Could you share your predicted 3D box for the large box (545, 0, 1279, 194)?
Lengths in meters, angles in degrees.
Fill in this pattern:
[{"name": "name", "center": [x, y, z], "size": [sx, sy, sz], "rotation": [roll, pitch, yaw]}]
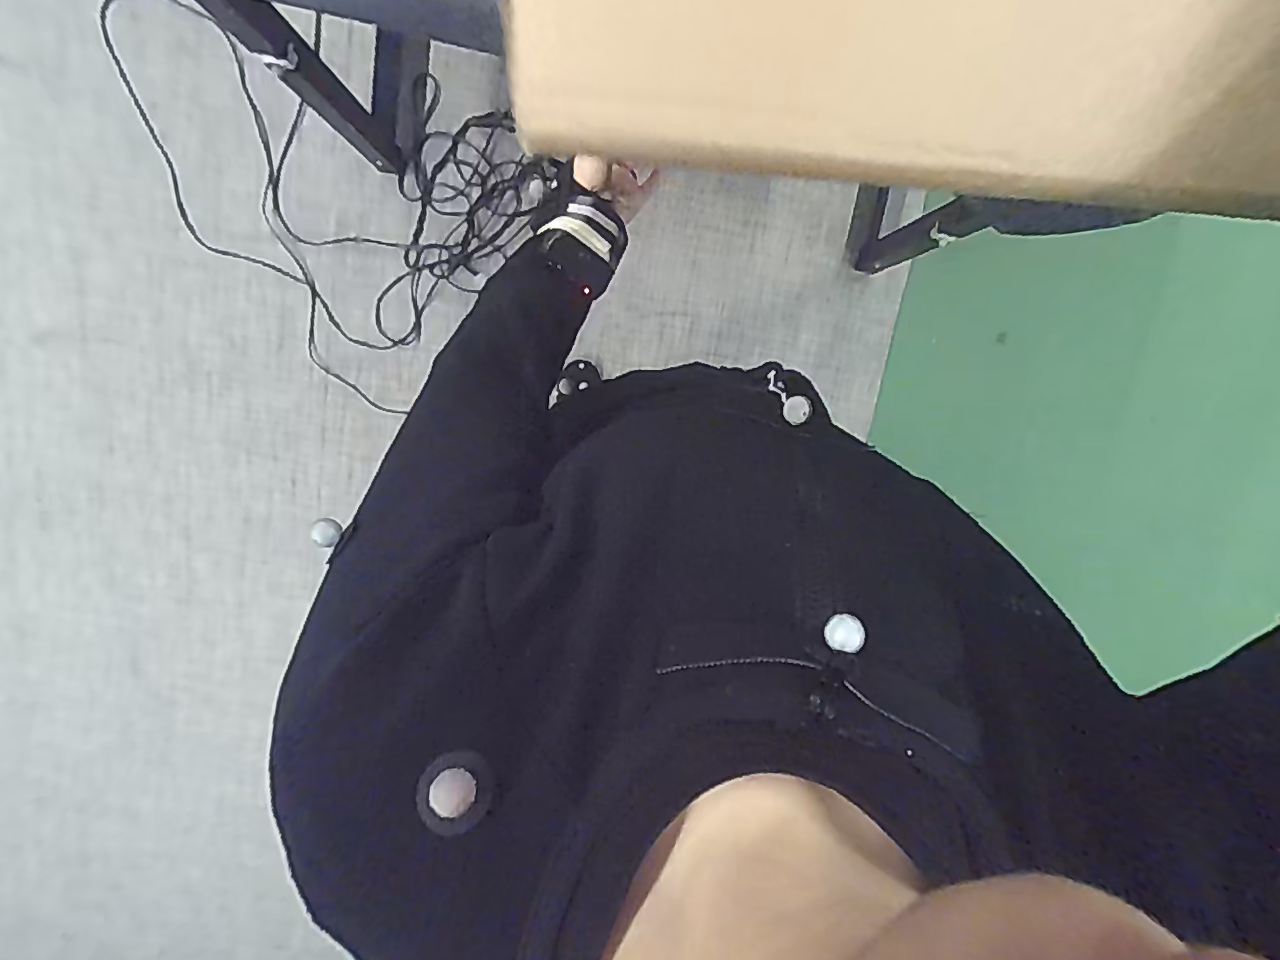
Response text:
[{"name": "large box", "center": [0.125, -0.353, 0.263], "size": [0.320, 0.408, 0.320], "rotation": [3, 127, -1]}]
